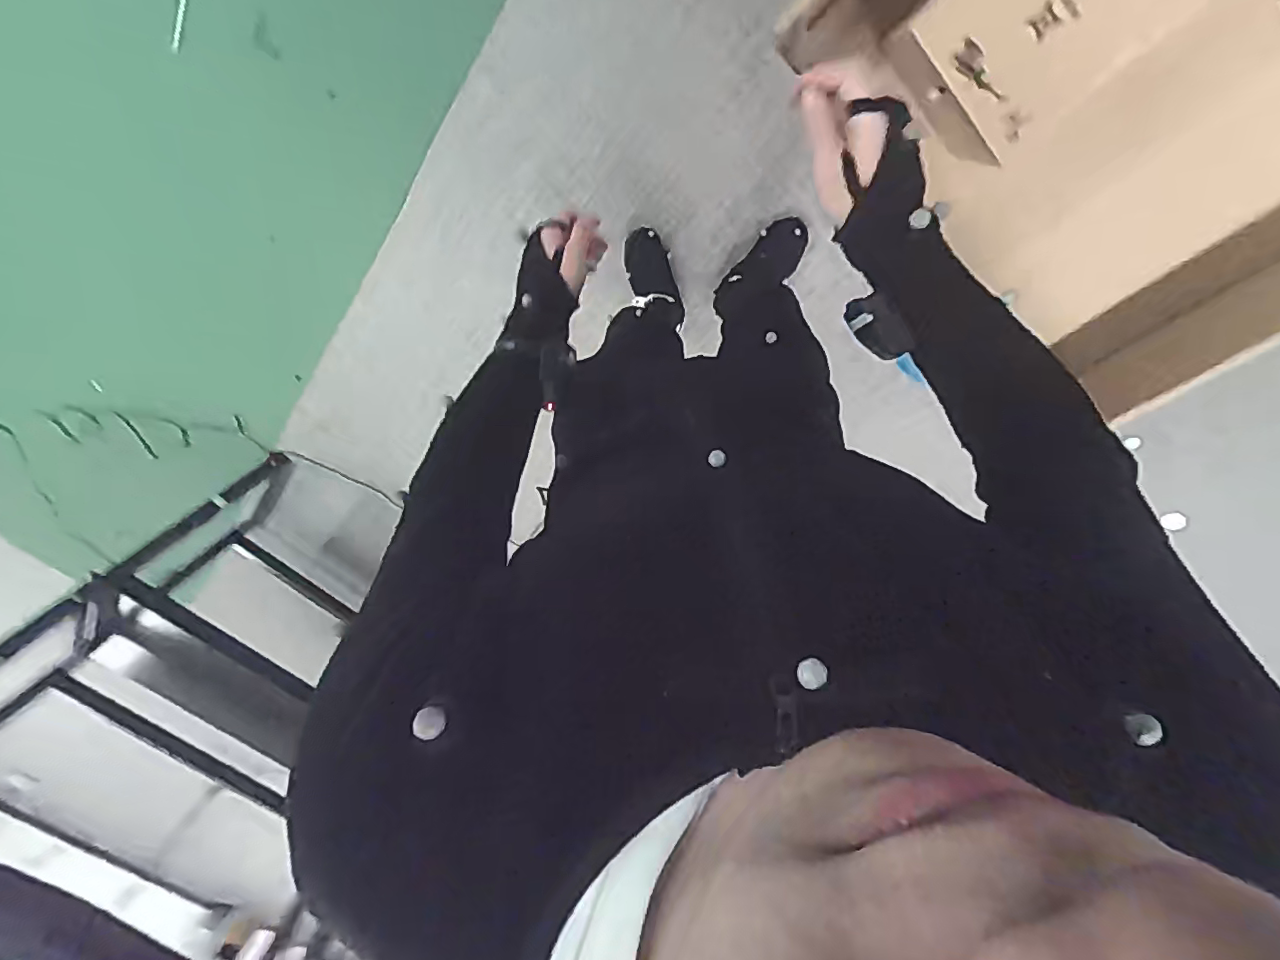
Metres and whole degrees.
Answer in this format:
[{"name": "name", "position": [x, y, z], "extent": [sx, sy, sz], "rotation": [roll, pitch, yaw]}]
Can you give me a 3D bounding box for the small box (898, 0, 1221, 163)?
[{"name": "small box", "position": [0.387, -0.452, 0.531], "extent": [0.168, 0.176, 0.179], "rotation": [43, 122, -15]}]
